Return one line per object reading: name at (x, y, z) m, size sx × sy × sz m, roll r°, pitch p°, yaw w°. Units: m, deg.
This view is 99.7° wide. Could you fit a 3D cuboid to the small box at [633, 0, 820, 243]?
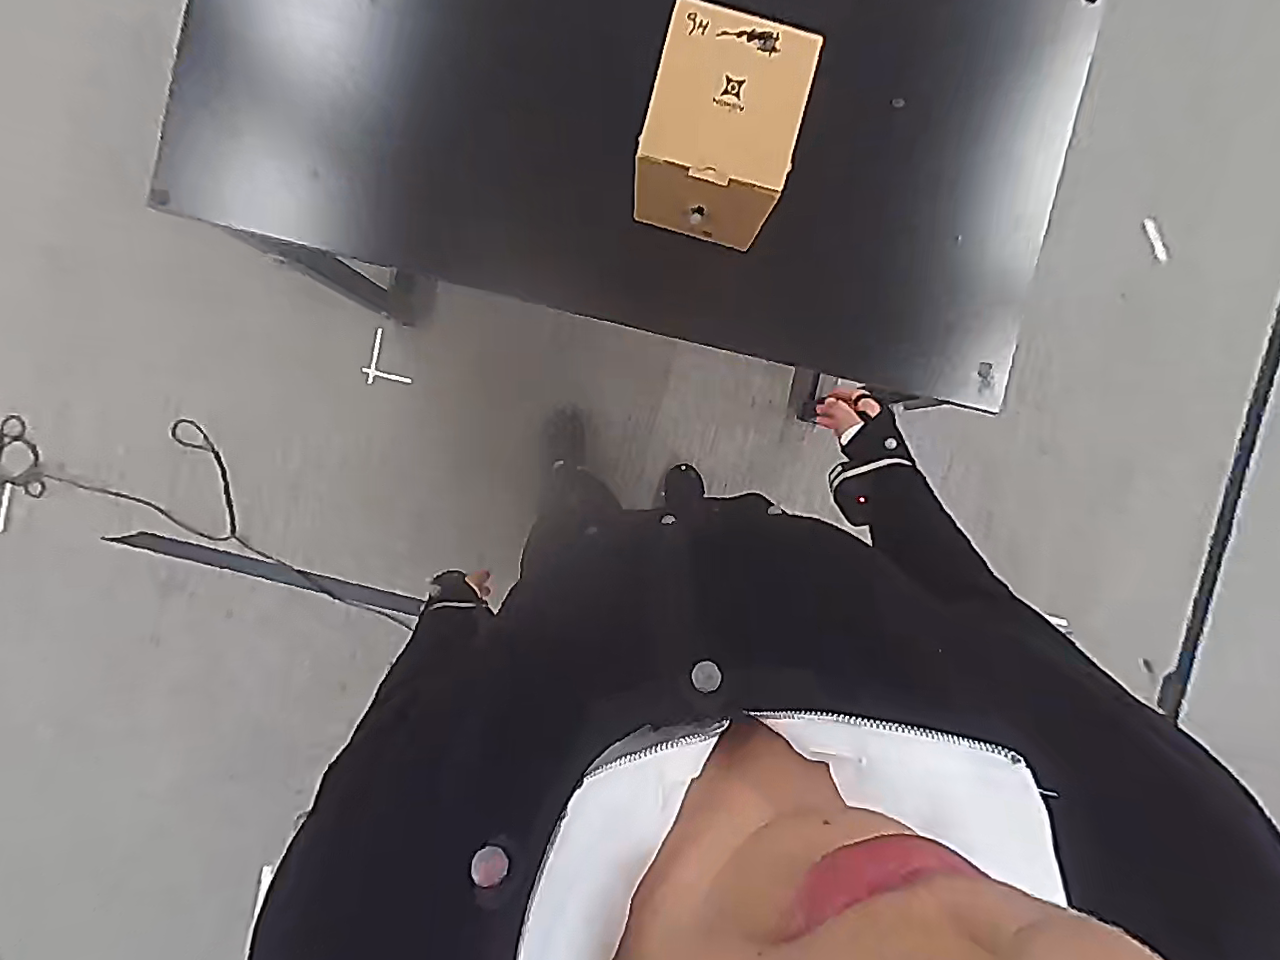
small box at (0.094, -0.420, 0.664) m, size 0.168 × 0.176 × 0.179 m, roll 15°, pitch 93°, yaw -2°
